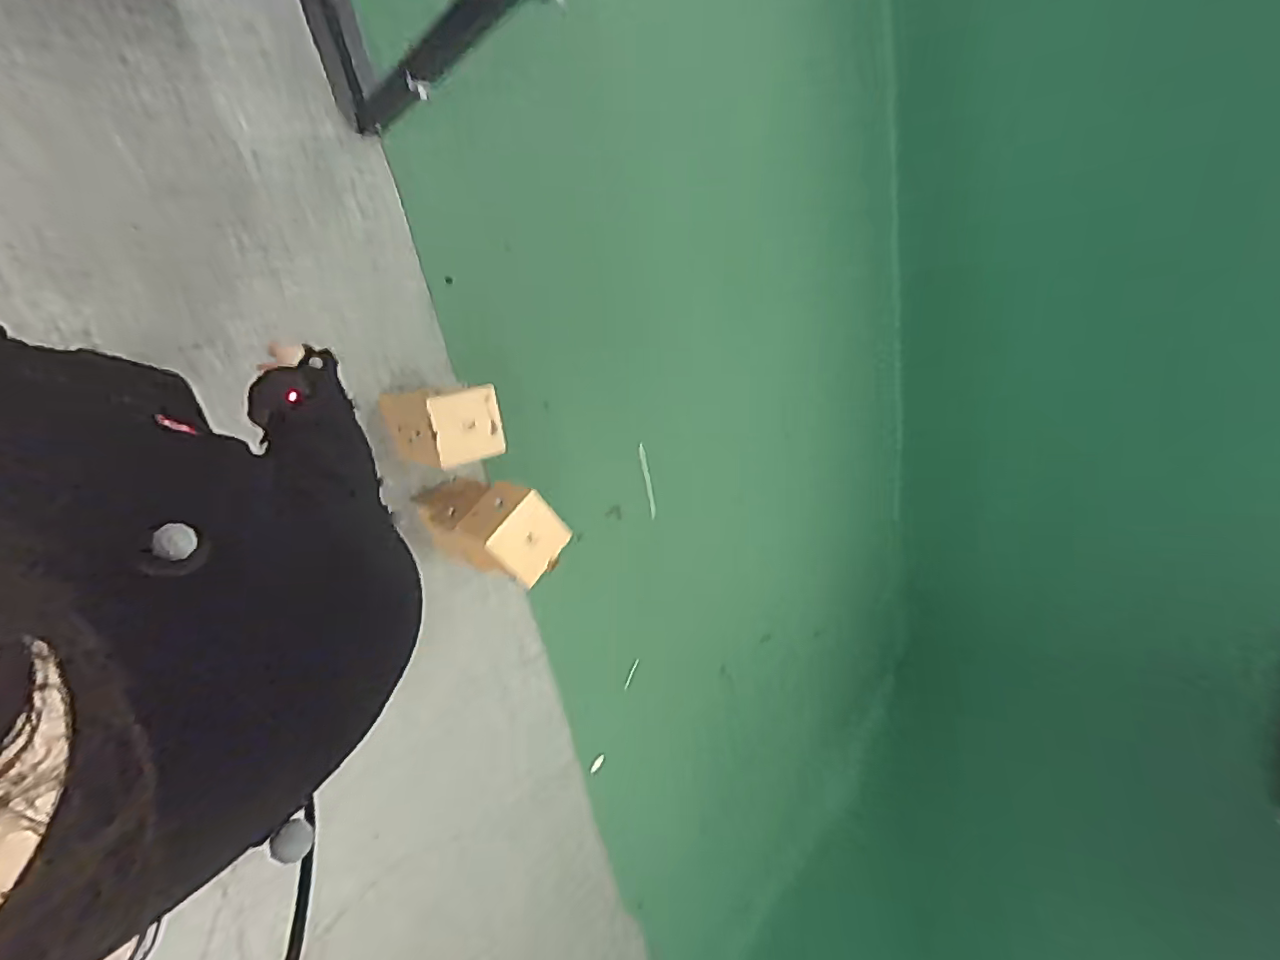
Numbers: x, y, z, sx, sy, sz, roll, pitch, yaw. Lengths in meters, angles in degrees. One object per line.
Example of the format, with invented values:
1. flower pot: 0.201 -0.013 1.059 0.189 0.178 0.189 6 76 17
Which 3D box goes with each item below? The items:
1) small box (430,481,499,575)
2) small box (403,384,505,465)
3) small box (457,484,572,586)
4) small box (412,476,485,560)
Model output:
1. small box: -0.419 0.118 1.427 0.168 0.176 0.179 -48 128 -25
2. small box: -0.464 -0.140 1.333 0.179 0.176 0.168 -21 111 -40
3. small box: -0.307 0.124 1.308 0.168 0.176 0.179 -52 129 -23
4. small box: -0.521 0.100 1.551 0.168 0.176 0.179 -36 122 -33
